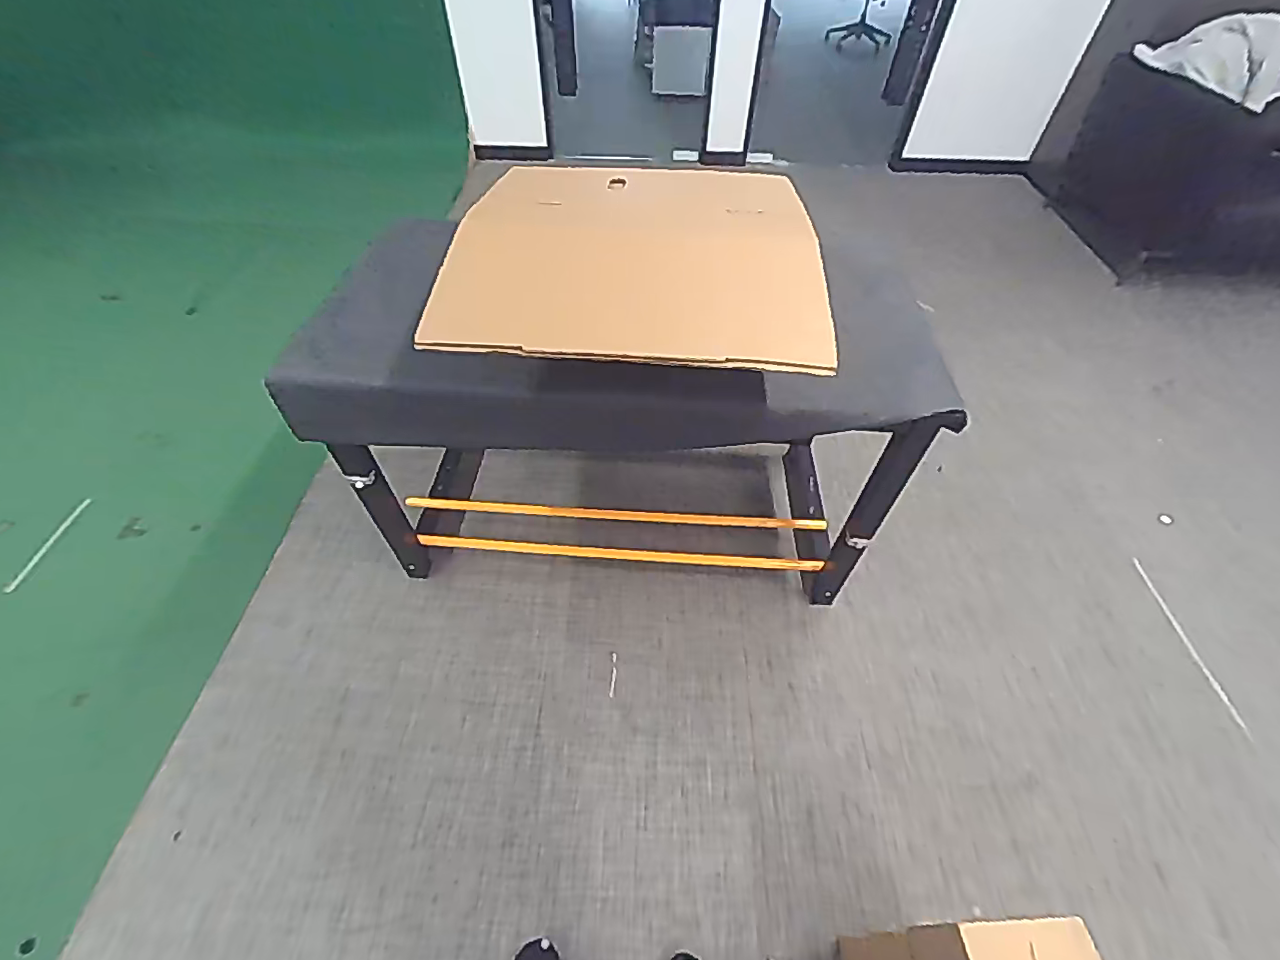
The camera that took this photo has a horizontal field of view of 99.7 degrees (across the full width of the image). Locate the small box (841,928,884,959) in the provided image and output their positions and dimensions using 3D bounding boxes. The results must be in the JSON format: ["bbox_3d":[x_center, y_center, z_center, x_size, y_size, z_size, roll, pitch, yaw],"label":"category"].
[{"bbox_3d":[0.469,0.889,0.933,0.168,0.176,0.179,-1,50,-3],"label":"small box"}]

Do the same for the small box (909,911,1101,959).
[{"bbox_3d":[0.479,0.668,0.691,0.168,0.176,0.179,-1,49,-3],"label":"small box"}]

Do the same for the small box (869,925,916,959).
[{"bbox_3d":[0.478,0.776,0.815,0.179,0.176,0.168,-3,49,-2],"label":"small box"}]
